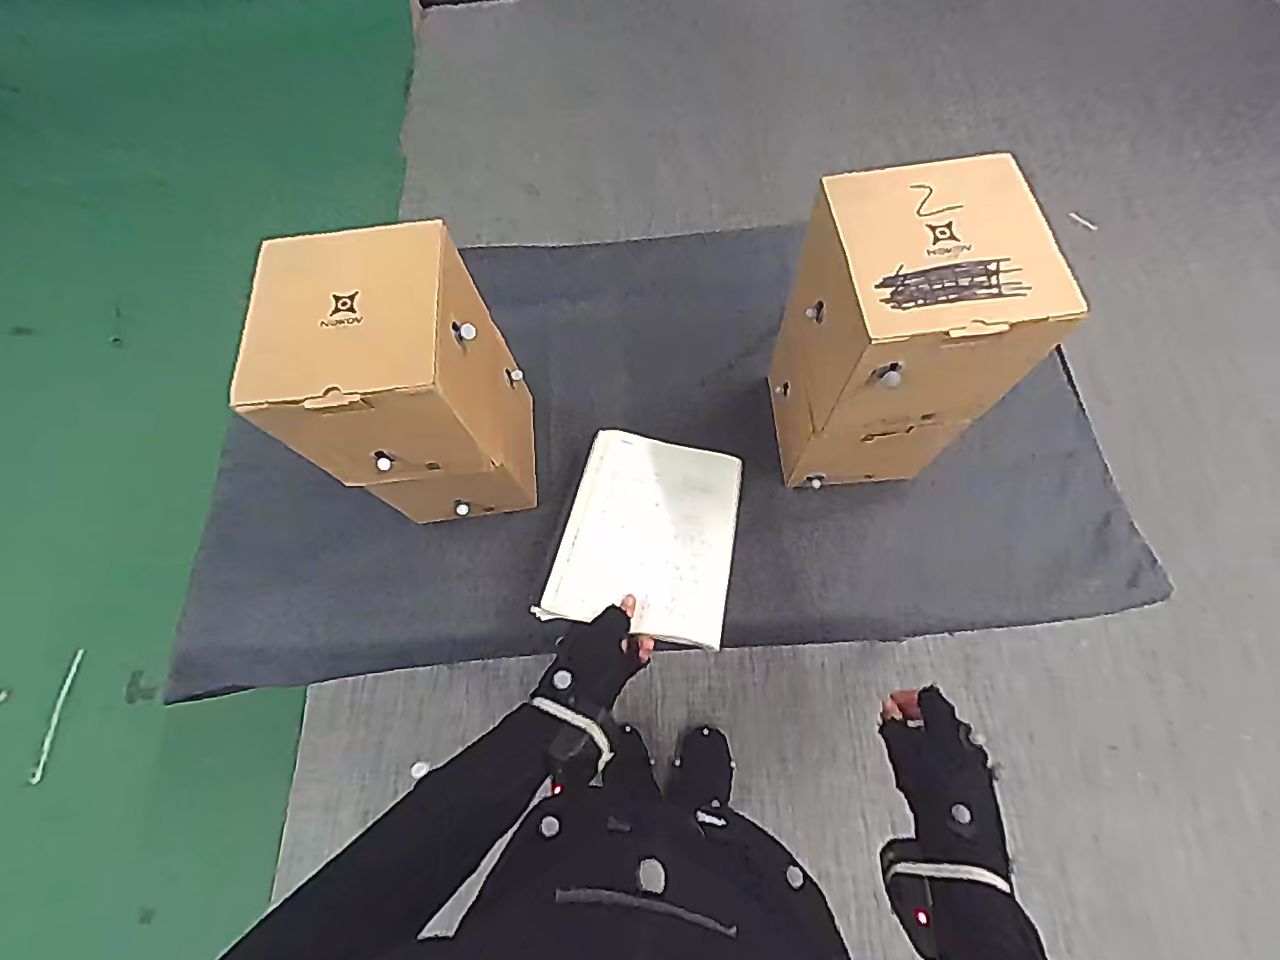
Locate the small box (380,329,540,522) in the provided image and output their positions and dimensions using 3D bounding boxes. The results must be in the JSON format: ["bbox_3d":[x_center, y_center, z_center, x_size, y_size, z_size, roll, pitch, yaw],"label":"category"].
[{"bbox_3d":[-0.228,-0.061,0.684,0.168,0.176,0.179,-8,68,1],"label":"small box"}]

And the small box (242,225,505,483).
[{"bbox_3d":[-0.237,-0.113,0.531,0.168,0.176,0.179,-6,68,1],"label":"small box"}]

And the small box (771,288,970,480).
[{"bbox_3d":[0.266,-0.106,0.669,0.168,0.176,0.179,-4,67,2],"label":"small box"}]
